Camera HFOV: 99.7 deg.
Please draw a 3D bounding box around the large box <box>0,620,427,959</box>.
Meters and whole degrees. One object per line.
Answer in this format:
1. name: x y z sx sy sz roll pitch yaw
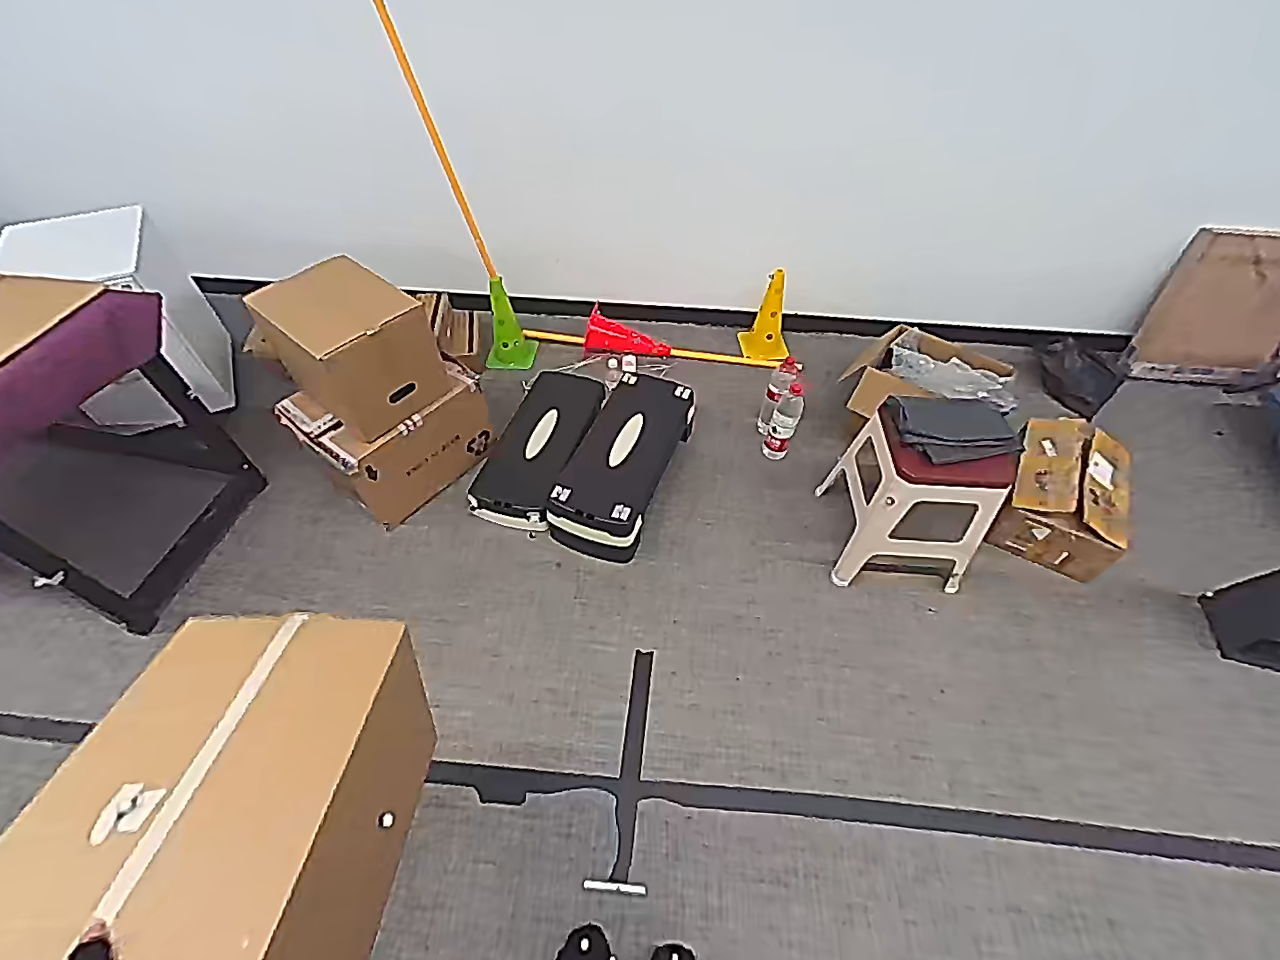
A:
1. large box: -0.515 0.449 0.731 0.320 0.320 0.408 2 35 -3
